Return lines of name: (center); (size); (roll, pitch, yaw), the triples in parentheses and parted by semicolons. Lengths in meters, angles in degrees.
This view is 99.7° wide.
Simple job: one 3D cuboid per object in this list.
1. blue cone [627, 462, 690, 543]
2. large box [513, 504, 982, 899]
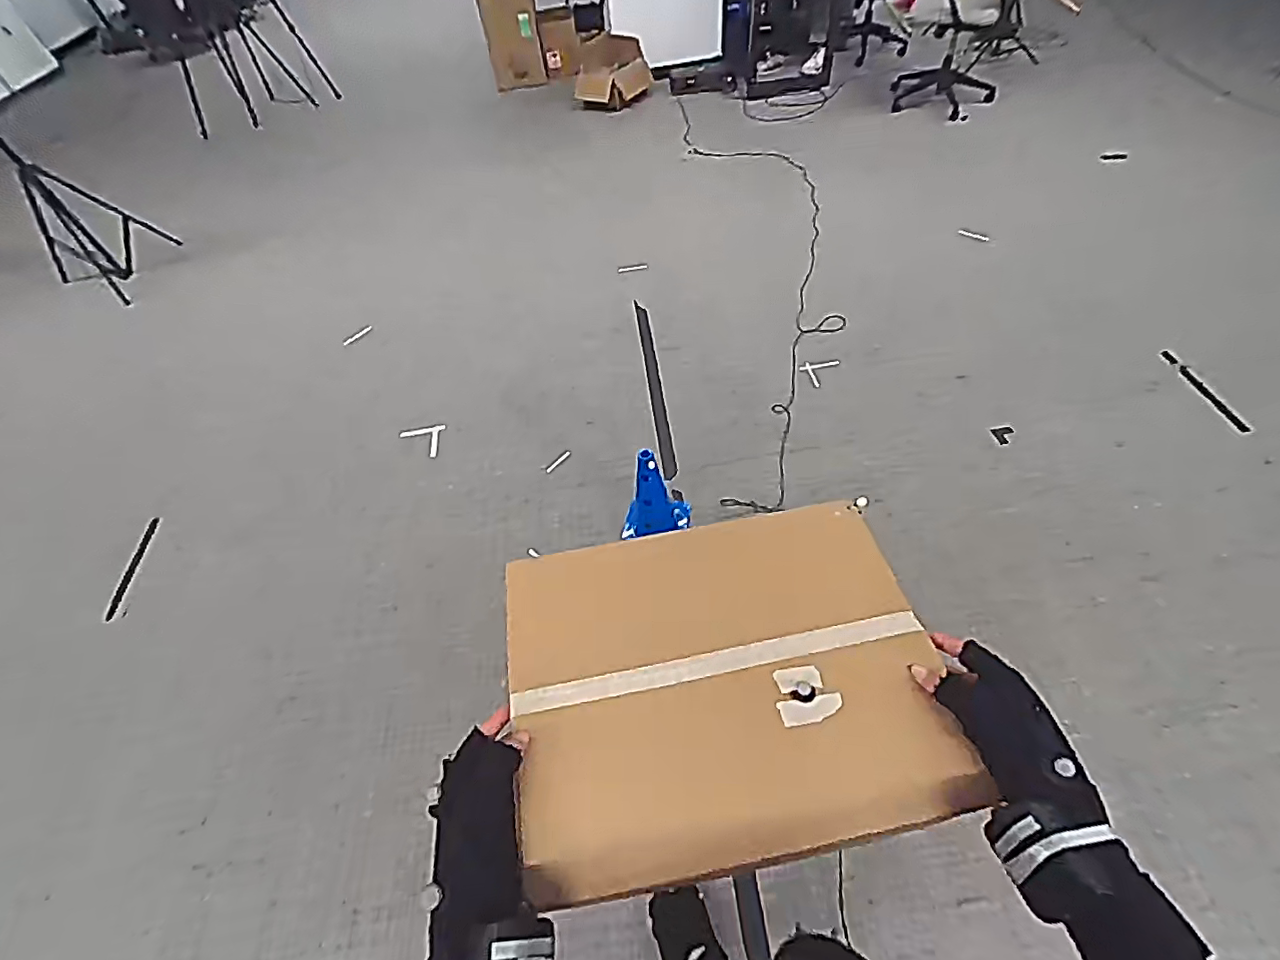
blue cone: (0.040, 0.068, 1.600); (0.193, 0.380, 0.192); (7, 54, 14)
large box: (0.083, 0.272, 0.657); (0.408, 0.320, 0.320); (-10, 52, -4)
